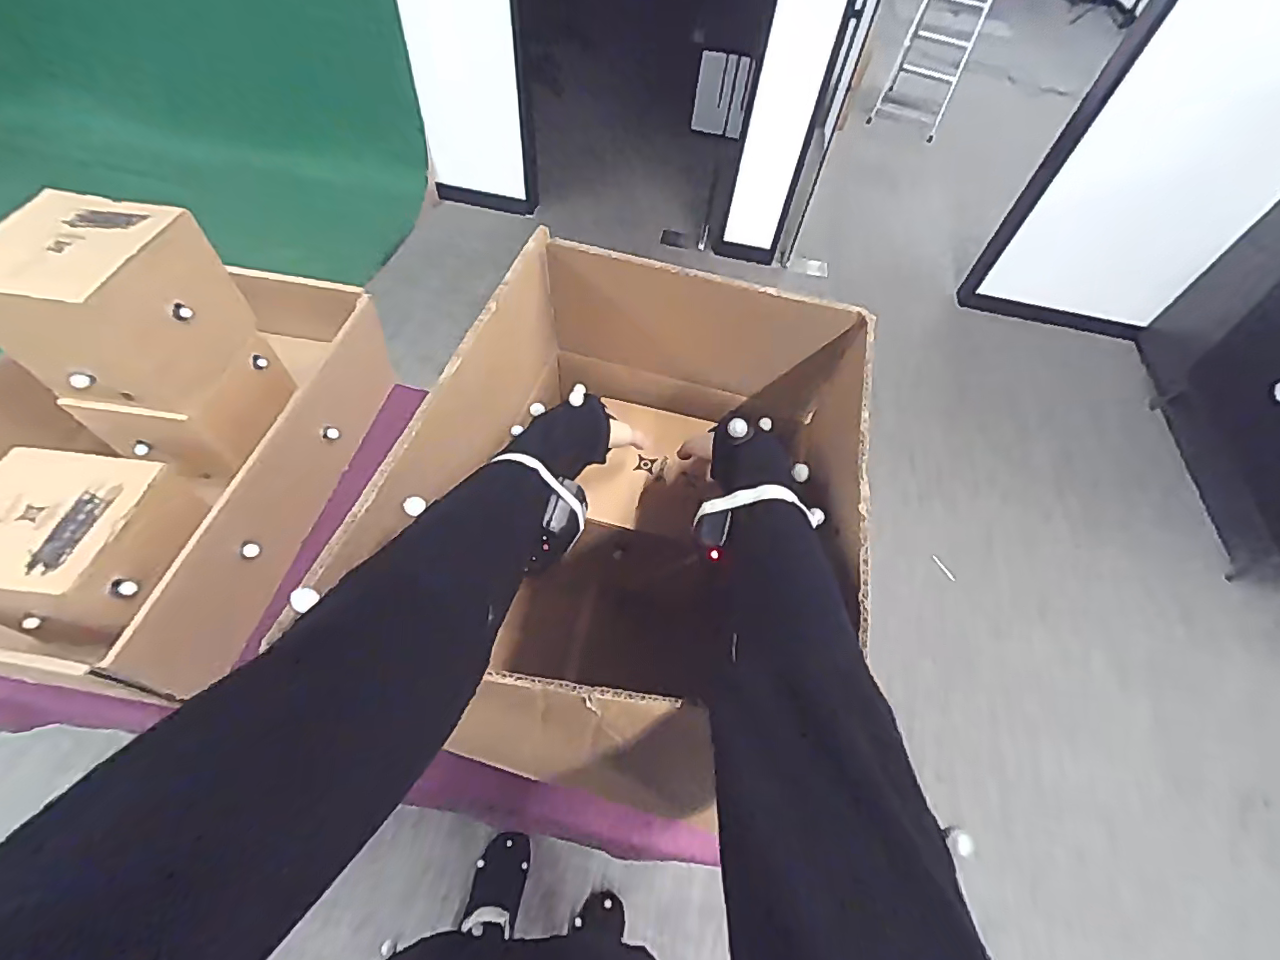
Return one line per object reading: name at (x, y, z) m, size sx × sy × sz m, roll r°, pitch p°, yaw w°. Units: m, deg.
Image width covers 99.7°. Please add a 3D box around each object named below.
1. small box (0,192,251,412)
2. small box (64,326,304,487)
small box at (-0.615, -0.207, 0.647) m, size 0.168 × 0.176 × 0.179 m, roll 8°, pitch 57°, yaw 1°
small box at (-0.628, -0.109, 0.779) m, size 0.168 × 0.176 × 0.179 m, roll 8°, pitch 55°, yaw 1°
